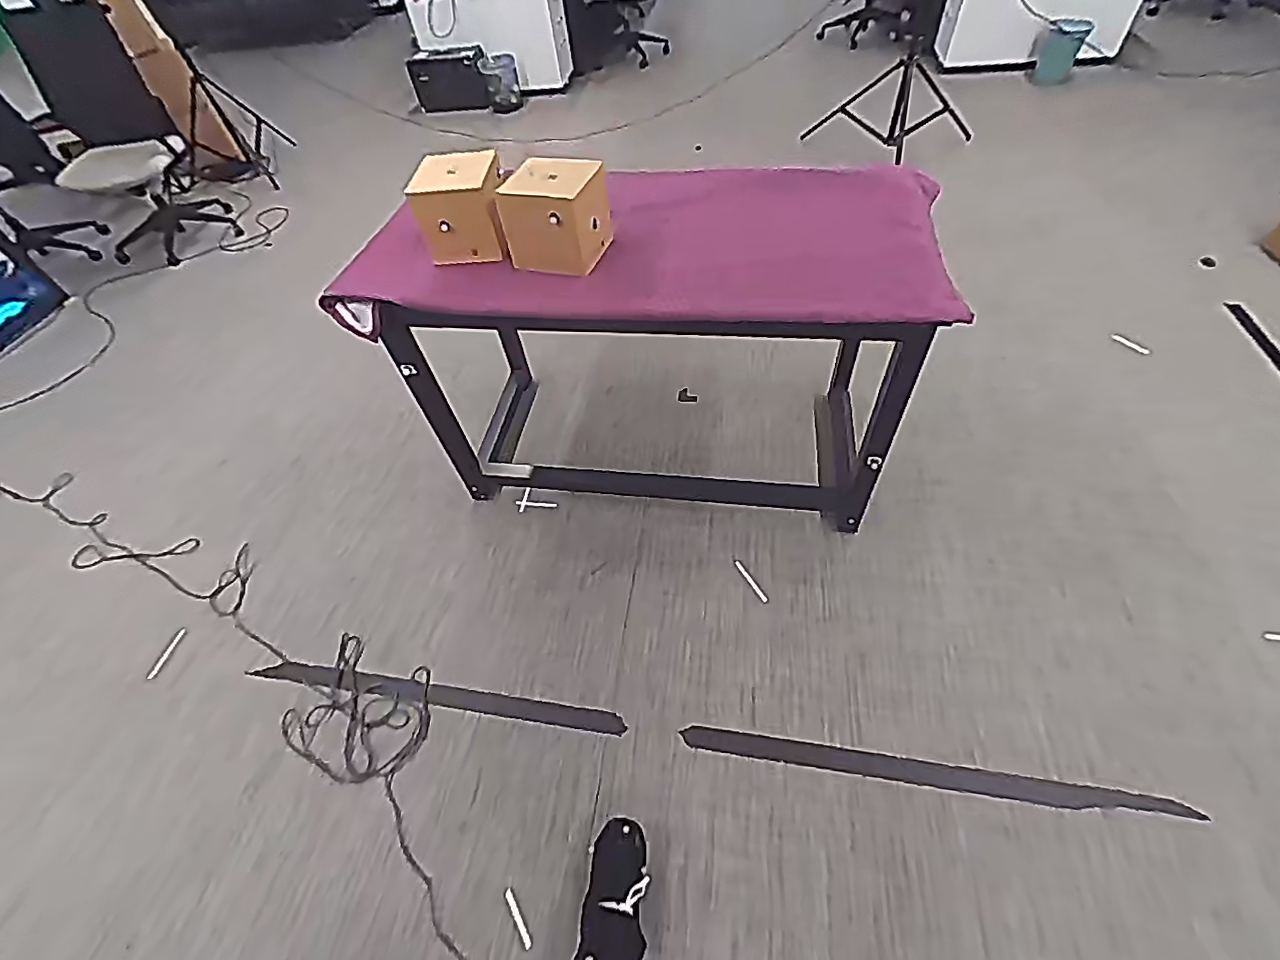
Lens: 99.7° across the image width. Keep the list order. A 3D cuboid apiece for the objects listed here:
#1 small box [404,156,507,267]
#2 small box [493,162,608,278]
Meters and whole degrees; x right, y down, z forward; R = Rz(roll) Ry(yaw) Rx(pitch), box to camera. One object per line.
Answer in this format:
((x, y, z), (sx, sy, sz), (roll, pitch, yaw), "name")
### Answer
((-0.399, -0.600, 1.223), (0.168, 0.176, 0.179), (-3, 52, 5), "small box")
((-0.180, -0.554, 1.159), (0.179, 0.176, 0.168), (11, 53, 15), "small box")
